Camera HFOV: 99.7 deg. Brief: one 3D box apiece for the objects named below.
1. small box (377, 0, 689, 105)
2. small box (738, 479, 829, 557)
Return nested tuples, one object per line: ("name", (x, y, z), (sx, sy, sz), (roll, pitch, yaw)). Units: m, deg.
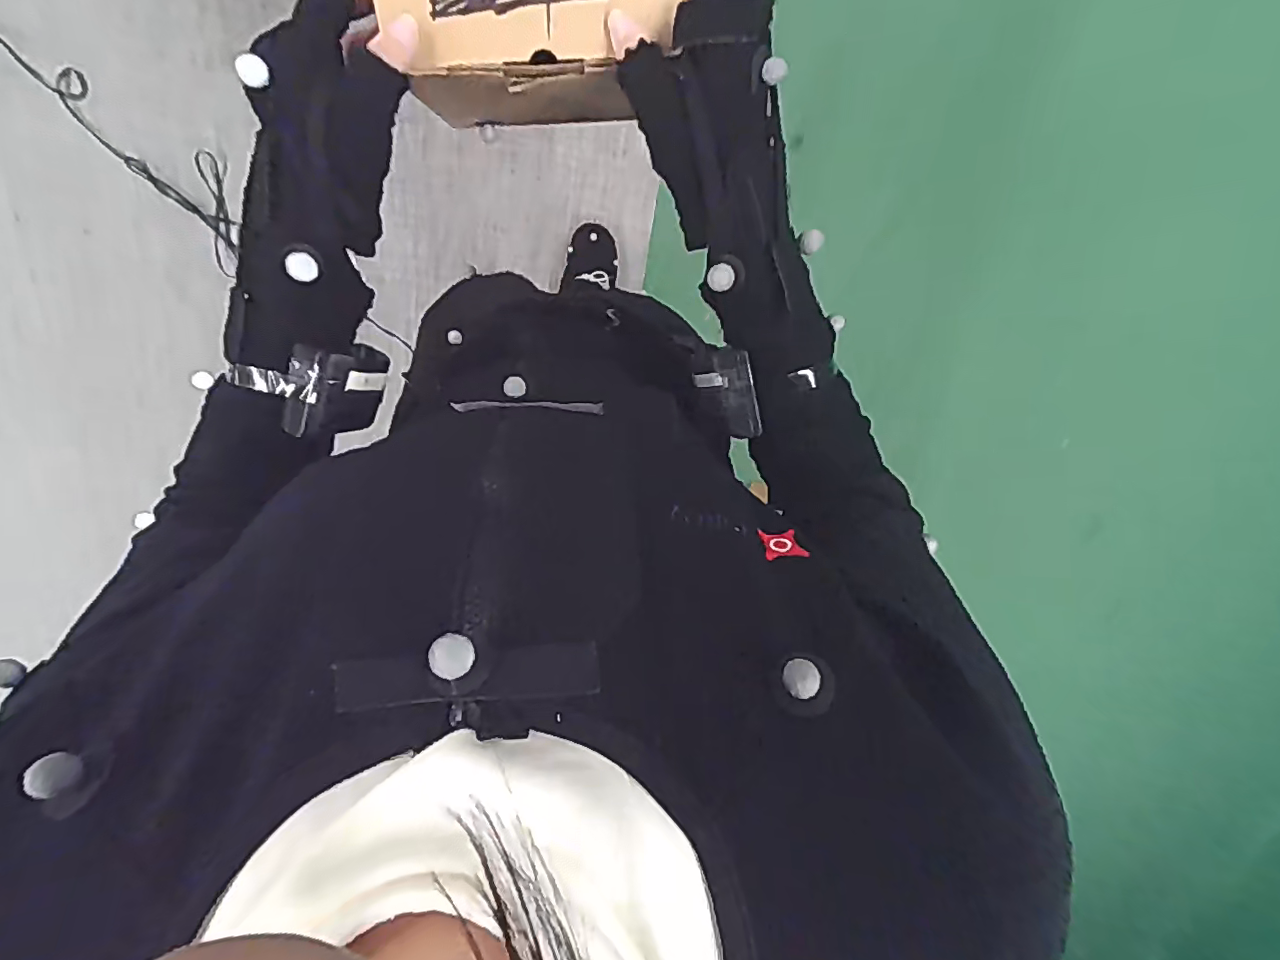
("small box", (-0.064, -0.344, 0.326), (0.168, 0.176, 0.179), (-6, 114, -4))
("small box", (0.388, 0.111, 1.496), (0.179, 0.176, 0.168), (9, 112, -7))
